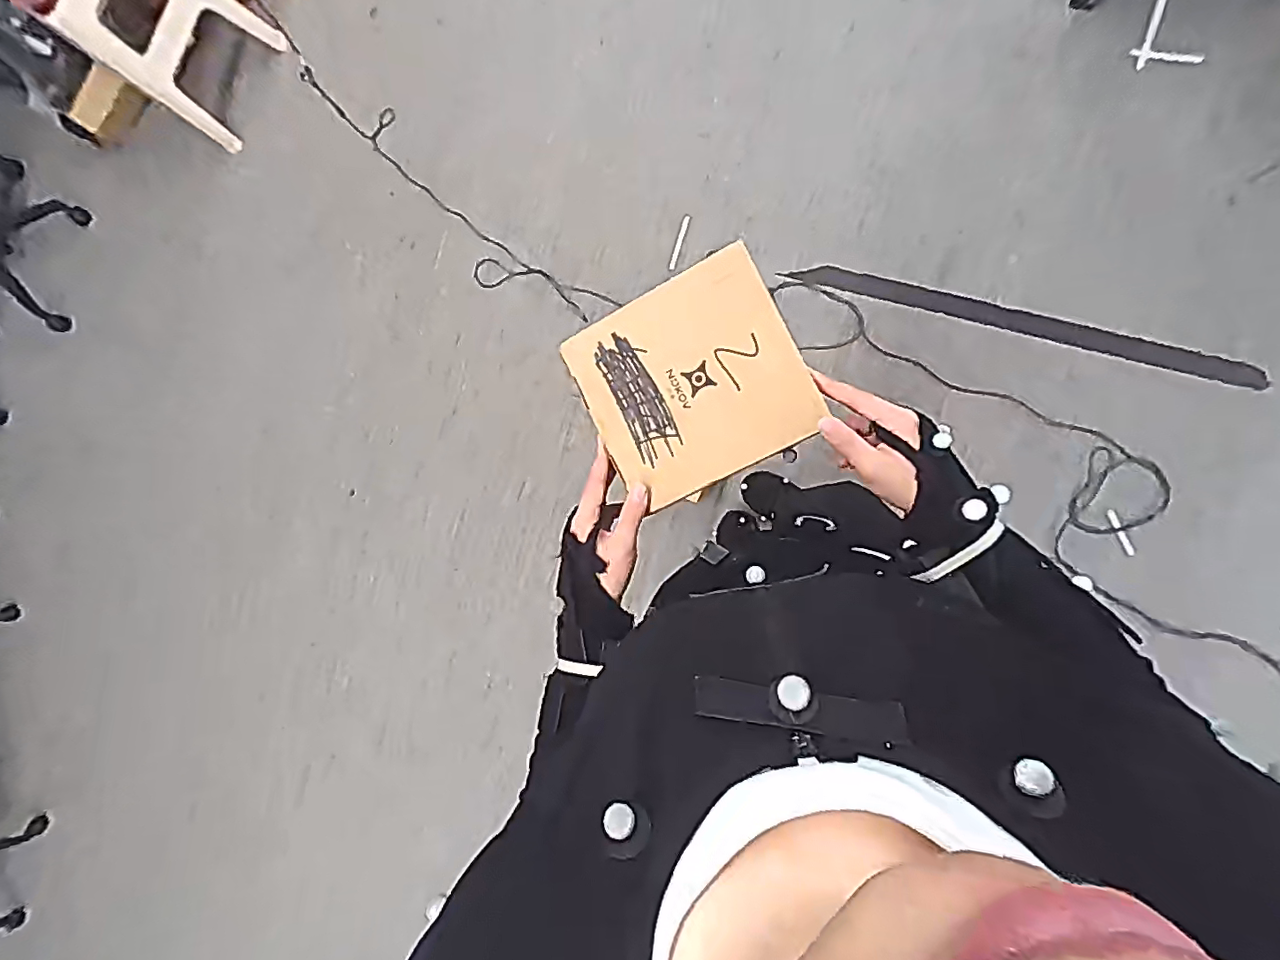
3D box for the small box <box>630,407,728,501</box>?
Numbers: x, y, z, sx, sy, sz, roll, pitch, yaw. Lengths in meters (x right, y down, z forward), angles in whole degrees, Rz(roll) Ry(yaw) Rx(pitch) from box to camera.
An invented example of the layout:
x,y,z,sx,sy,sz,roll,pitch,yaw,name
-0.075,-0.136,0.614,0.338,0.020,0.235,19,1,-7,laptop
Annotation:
x,y,z,sx,sy,sz,roll,pitch,yaw,name
0.102,-0.061,1.312,0.179,0.176,0.168,25,97,10,small box
